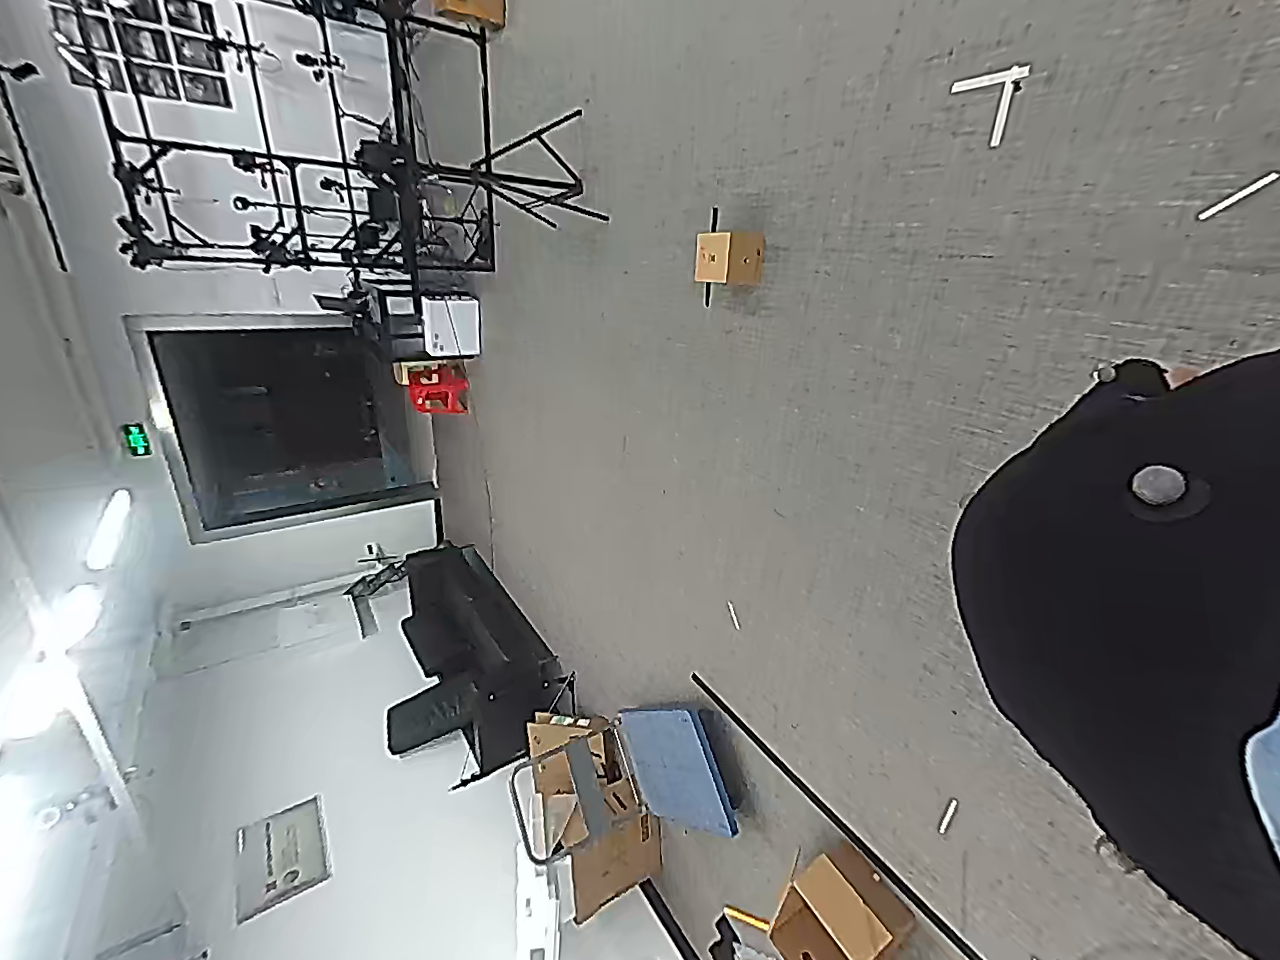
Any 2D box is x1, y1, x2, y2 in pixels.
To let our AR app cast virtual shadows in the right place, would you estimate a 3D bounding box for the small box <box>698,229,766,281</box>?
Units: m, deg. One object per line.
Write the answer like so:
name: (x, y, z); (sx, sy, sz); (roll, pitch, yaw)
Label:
small box: (0.332, -0.812, 1.952); (0.179, 0.176, 0.168); (31, 125, 50)
